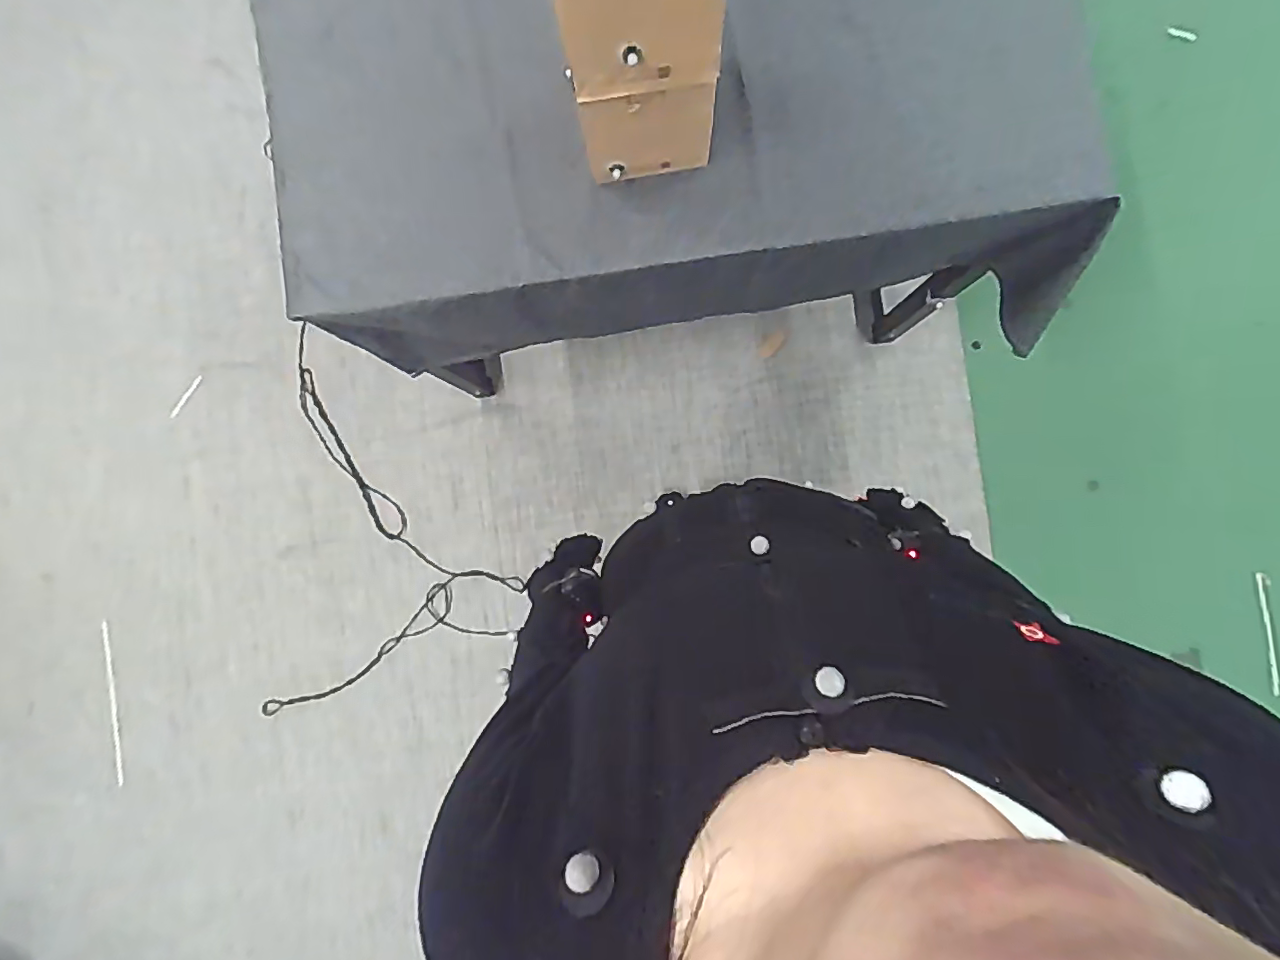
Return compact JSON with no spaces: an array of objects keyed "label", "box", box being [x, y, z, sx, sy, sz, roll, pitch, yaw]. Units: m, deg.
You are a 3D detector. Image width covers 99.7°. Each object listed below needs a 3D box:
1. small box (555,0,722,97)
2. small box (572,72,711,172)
[{"label":"small box","box":[-0.009,-0.544,0.553,0.168,0.176,0.179,-7,88,3]},{"label":"small box","box":[0.001,-0.538,0.715,0.168,0.176,0.179,-8,86,3]}]
